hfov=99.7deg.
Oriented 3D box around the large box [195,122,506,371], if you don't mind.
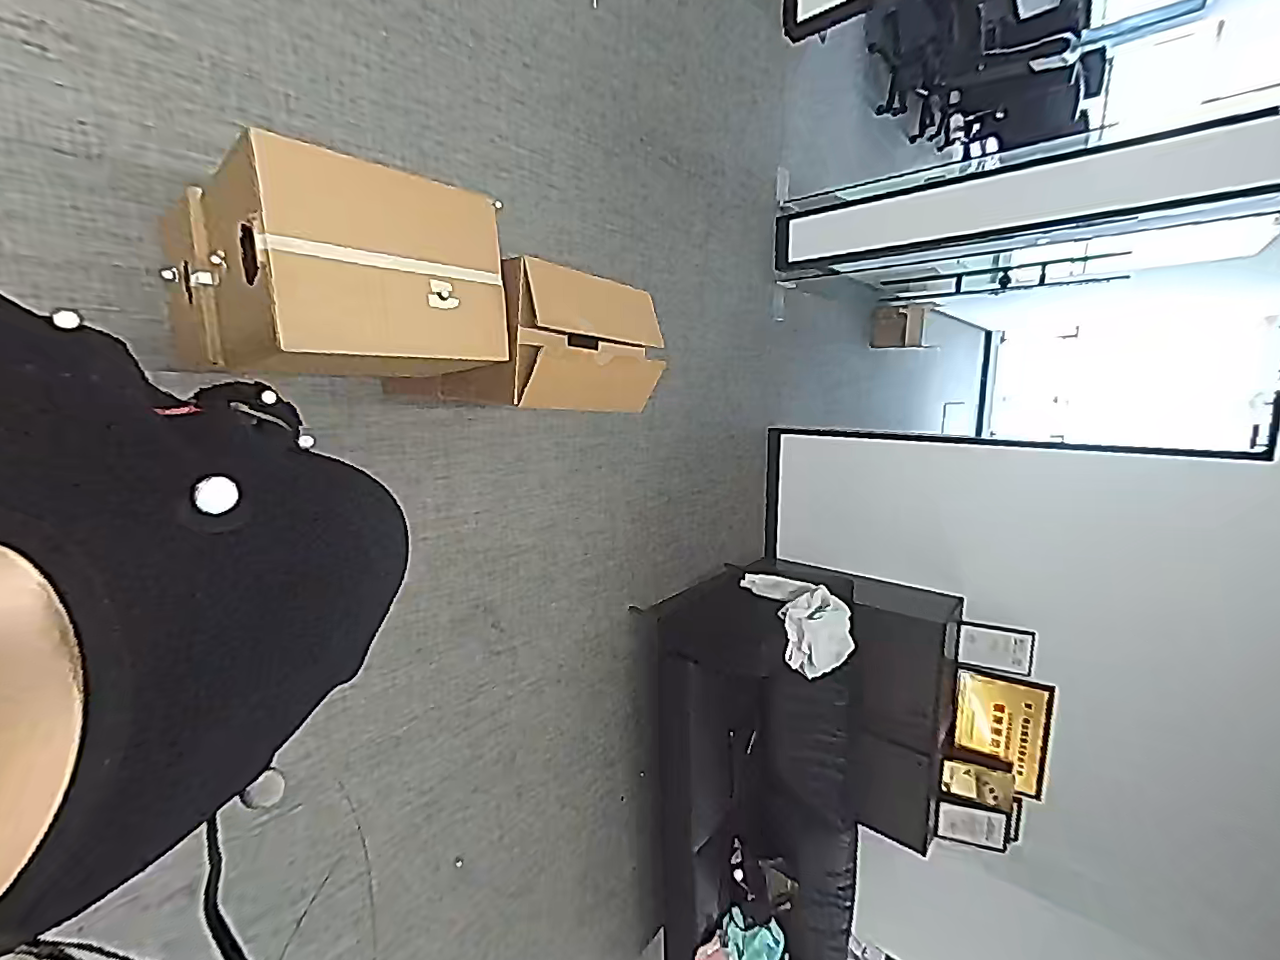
[{"bbox_3d":[-0.518,-0.375,1.003,0.408,0.320,0.320,-11,101,-49],"label":"large box"}]
